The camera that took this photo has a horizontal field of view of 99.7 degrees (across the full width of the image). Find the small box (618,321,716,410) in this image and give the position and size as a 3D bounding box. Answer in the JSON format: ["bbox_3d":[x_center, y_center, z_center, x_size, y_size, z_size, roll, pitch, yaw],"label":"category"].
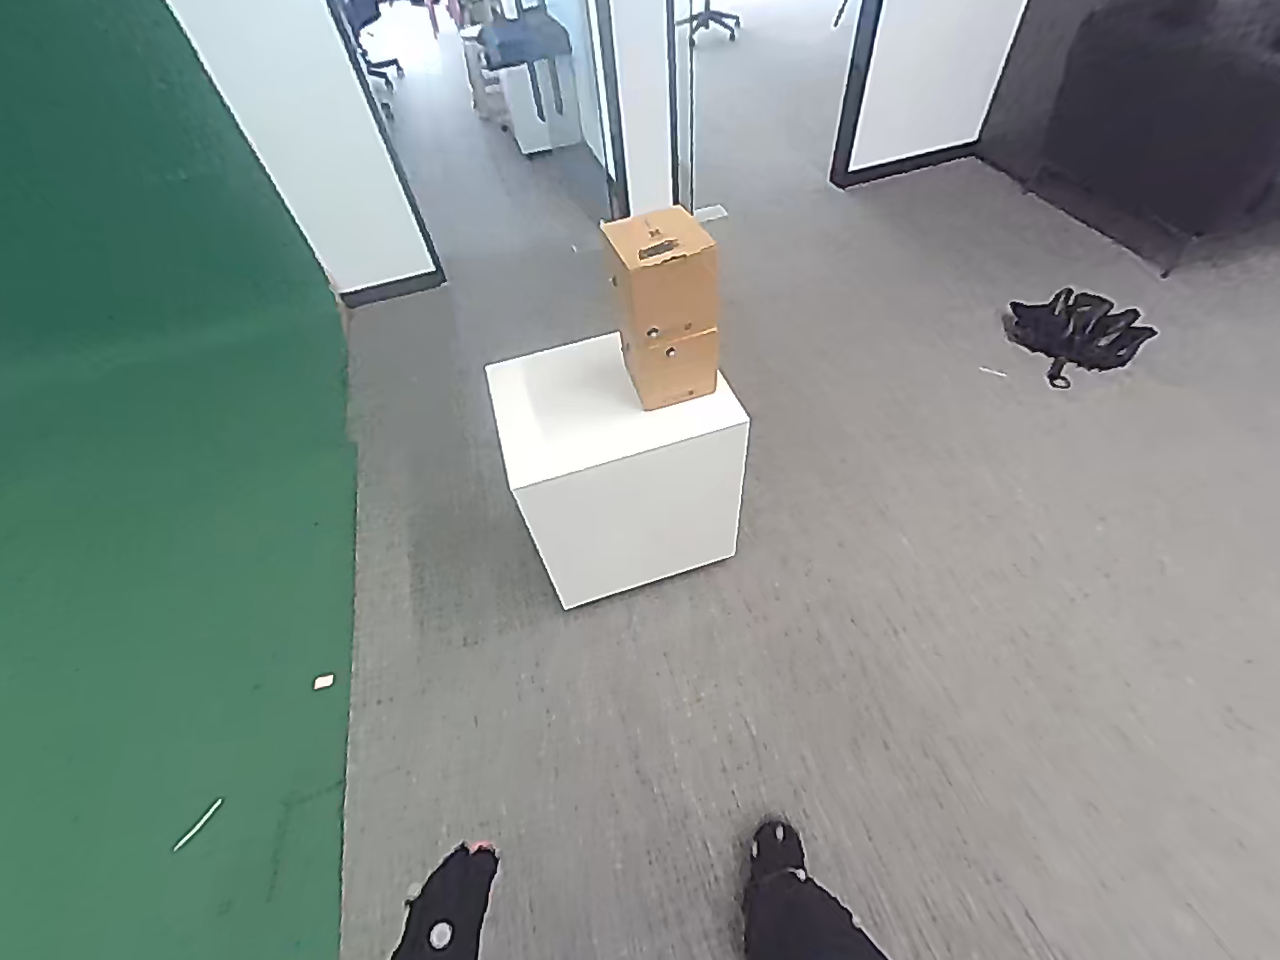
[{"bbox_3d":[0.055,-0.279,1.154,0.168,0.176,0.179,-18,52,-5],"label":"small box"}]

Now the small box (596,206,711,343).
[{"bbox_3d":[0.030,-0.382,1.028,0.168,0.176,0.179,-19,52,-8],"label":"small box"}]
